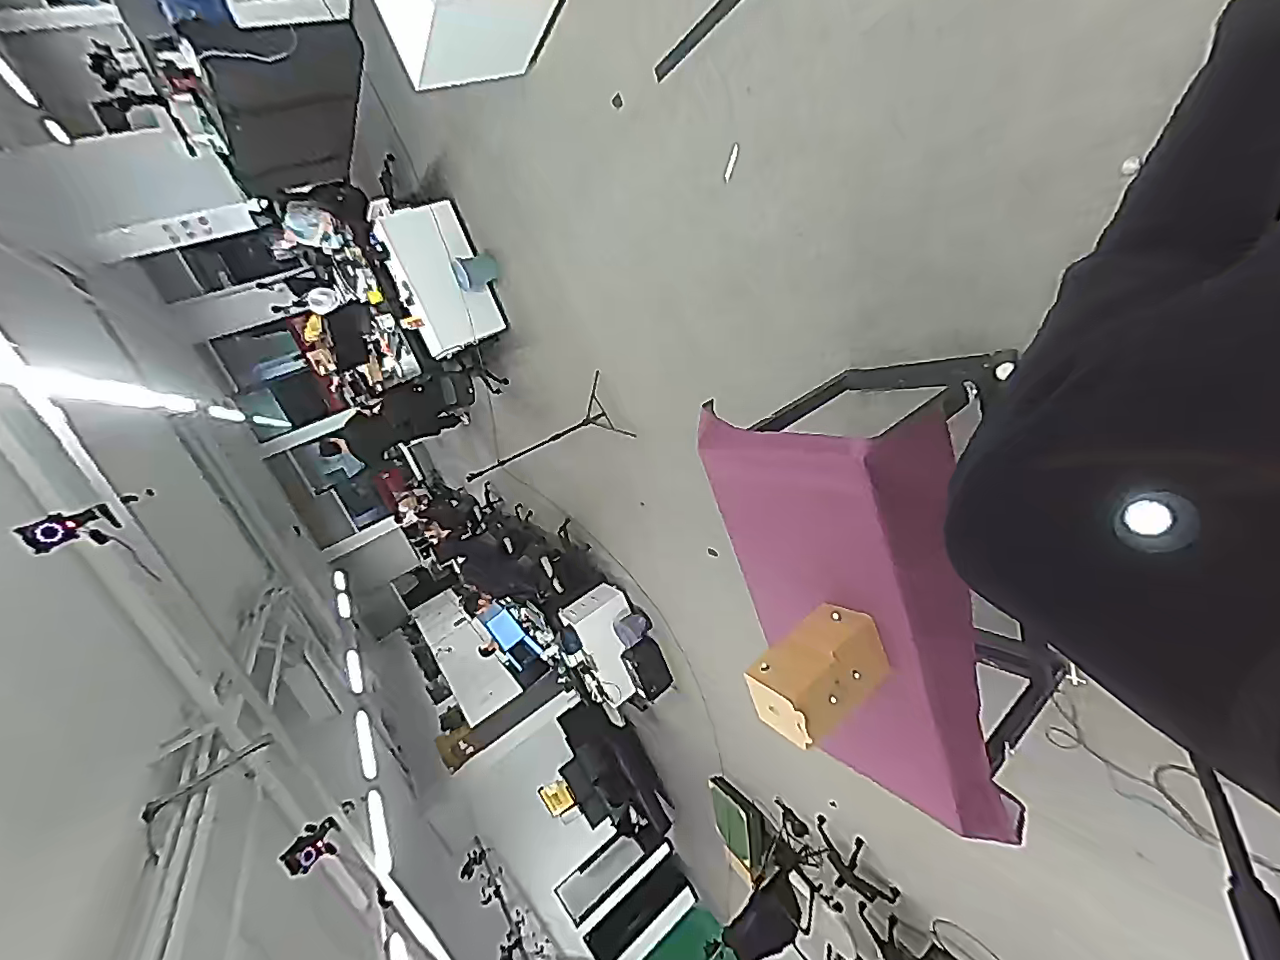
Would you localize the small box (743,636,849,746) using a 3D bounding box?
[{"bbox_3d":[0.401,0.529,1.390,0.179,0.176,0.168,12,128,58],"label":"small box"}]

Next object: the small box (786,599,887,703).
[{"bbox_3d":[0.532,0.453,1.456,0.168,0.176,0.179,2,119,61],"label":"small box"}]
